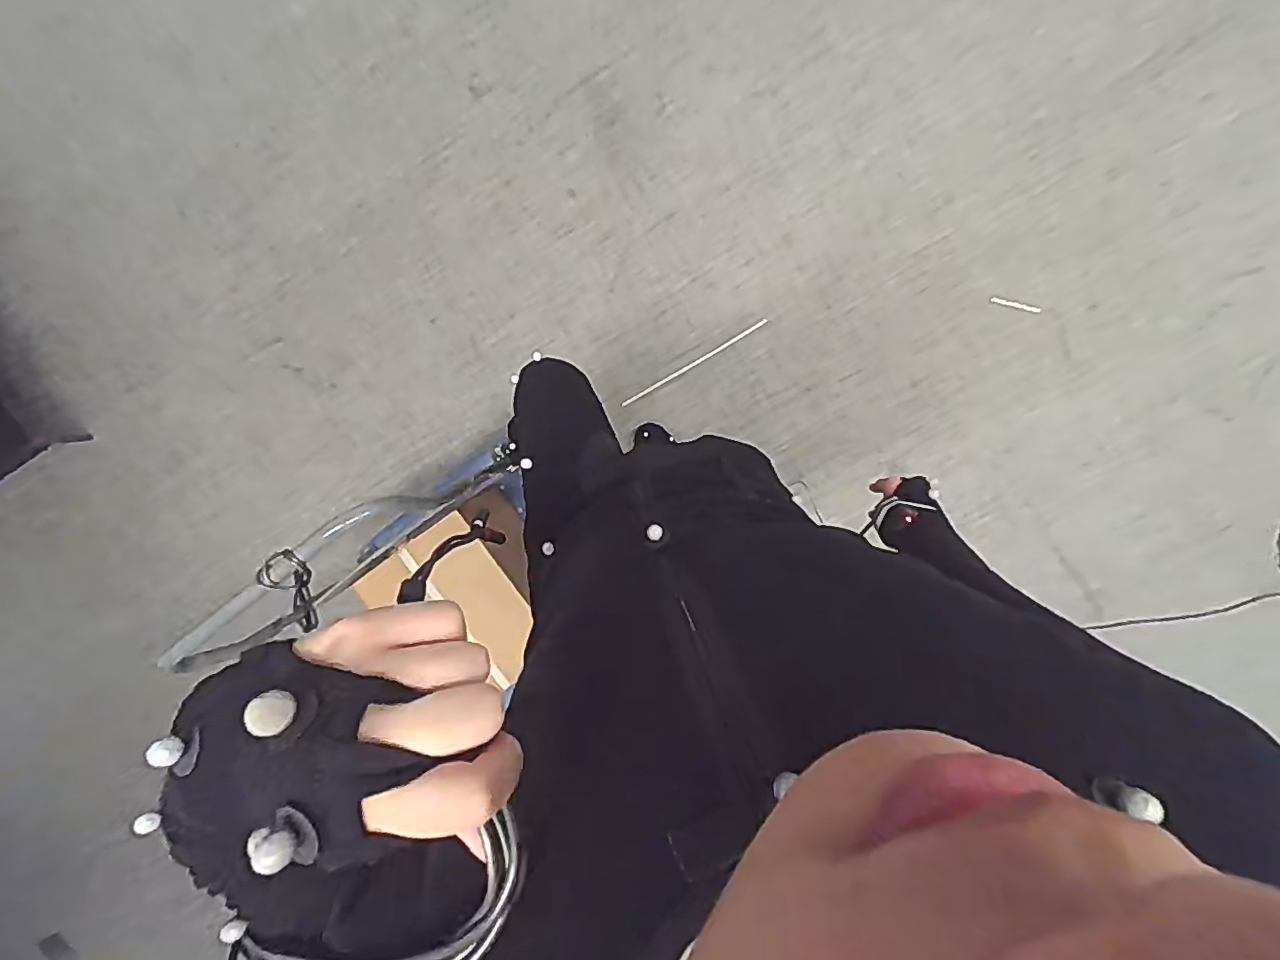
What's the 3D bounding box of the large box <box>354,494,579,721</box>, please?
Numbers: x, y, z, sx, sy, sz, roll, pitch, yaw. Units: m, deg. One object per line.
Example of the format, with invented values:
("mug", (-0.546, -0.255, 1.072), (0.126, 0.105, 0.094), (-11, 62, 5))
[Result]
("large box", (-0.408, 0.297, 1.367), (0.320, 0.320, 0.408), (-35, 95, 6))
